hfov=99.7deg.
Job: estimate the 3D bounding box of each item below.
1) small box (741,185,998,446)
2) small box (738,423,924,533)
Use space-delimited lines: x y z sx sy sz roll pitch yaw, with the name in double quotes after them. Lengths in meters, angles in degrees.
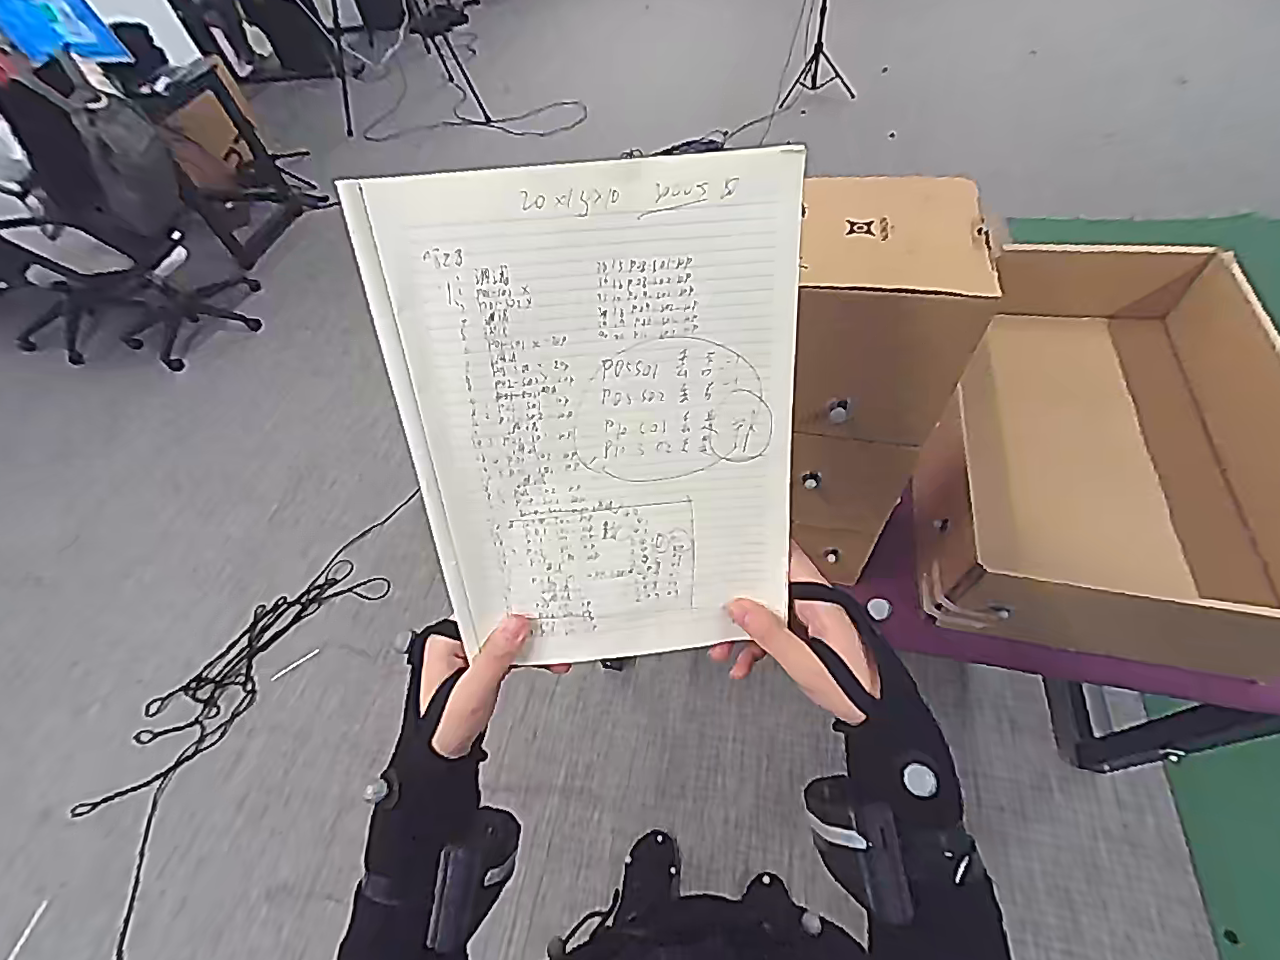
0.197 -0.150 0.510 0.179 0.176 0.168 8 54 12 "small box"
0.217 -0.053 0.642 0.179 0.176 0.168 7 55 14 "small box"
